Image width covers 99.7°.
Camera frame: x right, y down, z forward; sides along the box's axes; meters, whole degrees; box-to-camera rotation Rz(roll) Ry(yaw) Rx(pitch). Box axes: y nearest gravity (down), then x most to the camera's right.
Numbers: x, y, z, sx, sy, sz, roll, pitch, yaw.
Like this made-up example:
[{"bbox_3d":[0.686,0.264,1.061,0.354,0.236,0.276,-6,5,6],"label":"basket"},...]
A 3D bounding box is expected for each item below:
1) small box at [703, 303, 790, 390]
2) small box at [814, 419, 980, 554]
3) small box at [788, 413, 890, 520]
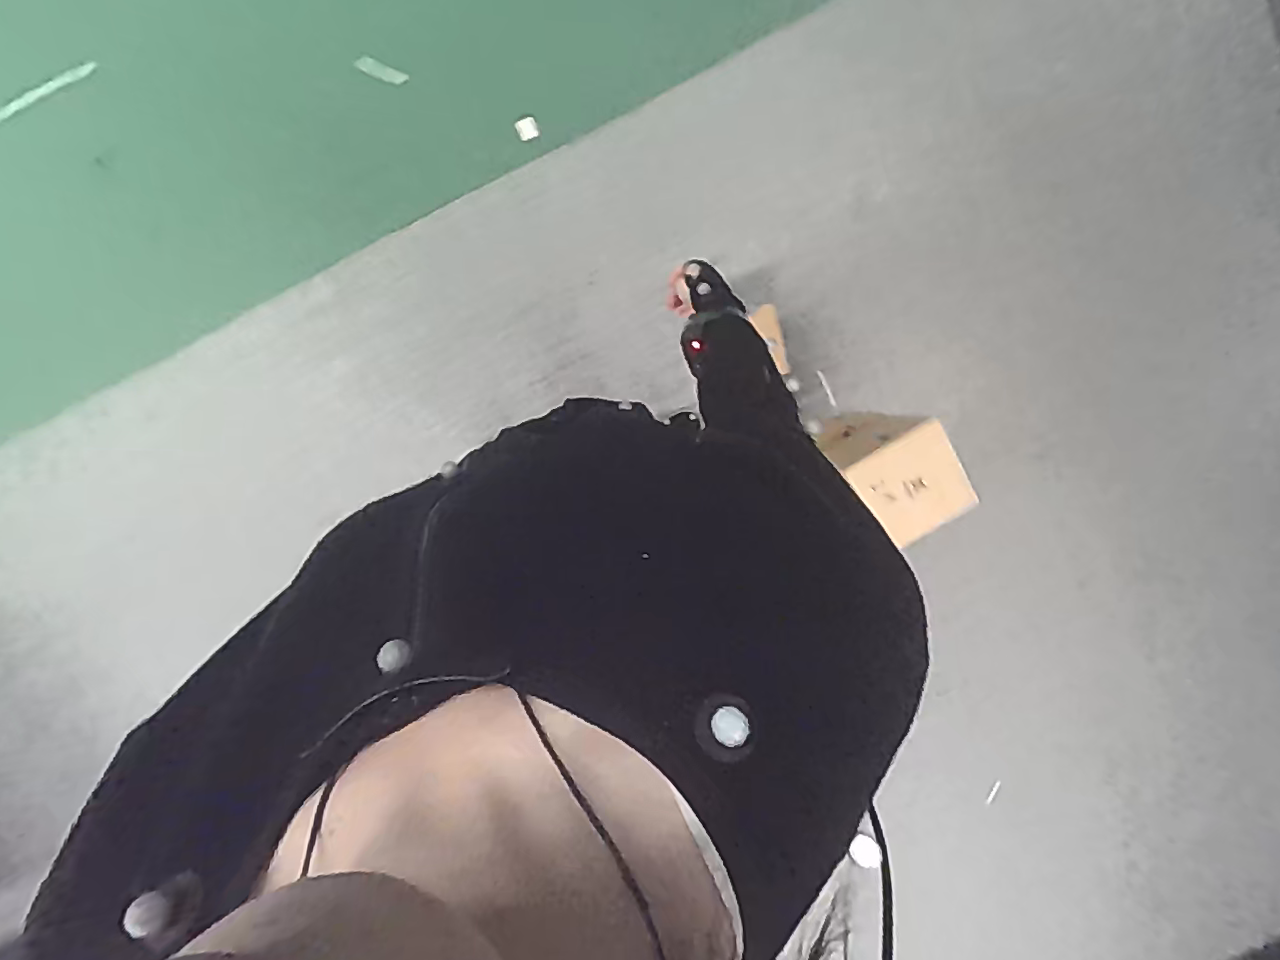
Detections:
[{"bbox_3d":[0.269,-0.338,1.395,0.168,0.176,0.179,-16,98,0],"label":"small box"},{"bbox_3d":[0.441,0.000,0.954,0.179,0.176,0.168,-29,98,2],"label":"small box"},{"bbox_3d":[0.432,-0.026,1.116,0.168,0.176,0.179,-28,99,1],"label":"small box"}]
